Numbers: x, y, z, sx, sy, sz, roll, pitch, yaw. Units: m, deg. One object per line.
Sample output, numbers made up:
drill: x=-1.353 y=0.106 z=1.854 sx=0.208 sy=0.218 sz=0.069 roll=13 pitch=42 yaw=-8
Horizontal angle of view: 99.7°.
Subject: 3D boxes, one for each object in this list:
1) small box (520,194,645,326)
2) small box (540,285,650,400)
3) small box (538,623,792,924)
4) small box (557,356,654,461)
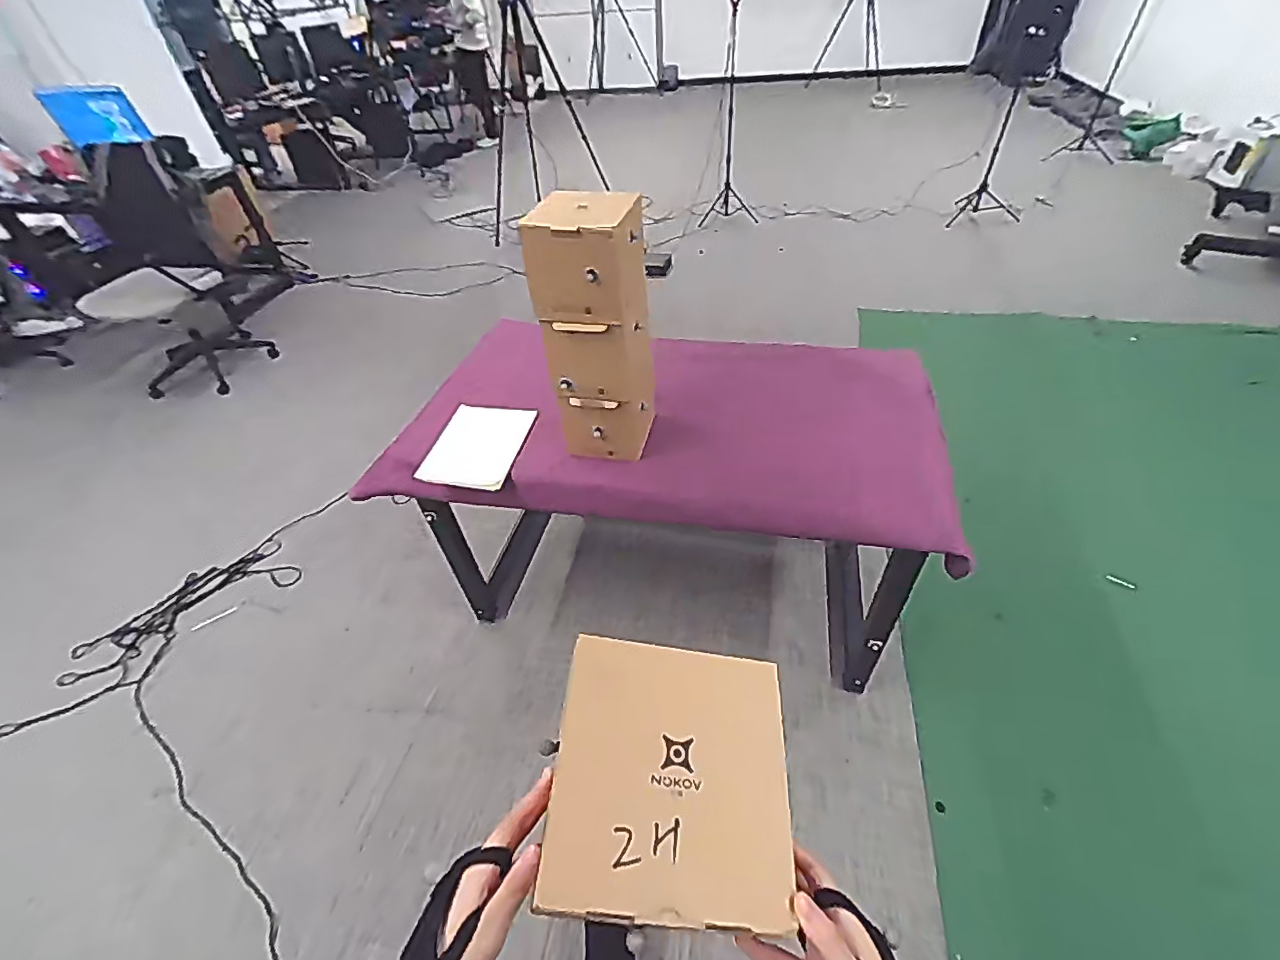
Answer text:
small box: x=-0.089 y=-0.391 z=0.961 sx=0.168 sy=0.176 sz=0.179 roll=8 pitch=45 yaw=12
small box: x=-0.078 y=-0.277 z=1.077 sx=0.168 sy=0.176 sz=0.179 roll=7 pitch=44 yaw=12
small box: x=0.012 y=0.247 z=0.451 sx=0.168 sy=0.176 sz=0.179 roll=10 pitch=50 yaw=-3
small box: x=-0.067 y=-0.163 z=1.196 sx=0.168 sy=0.176 sz=0.179 roll=7 pitch=46 yaw=12
